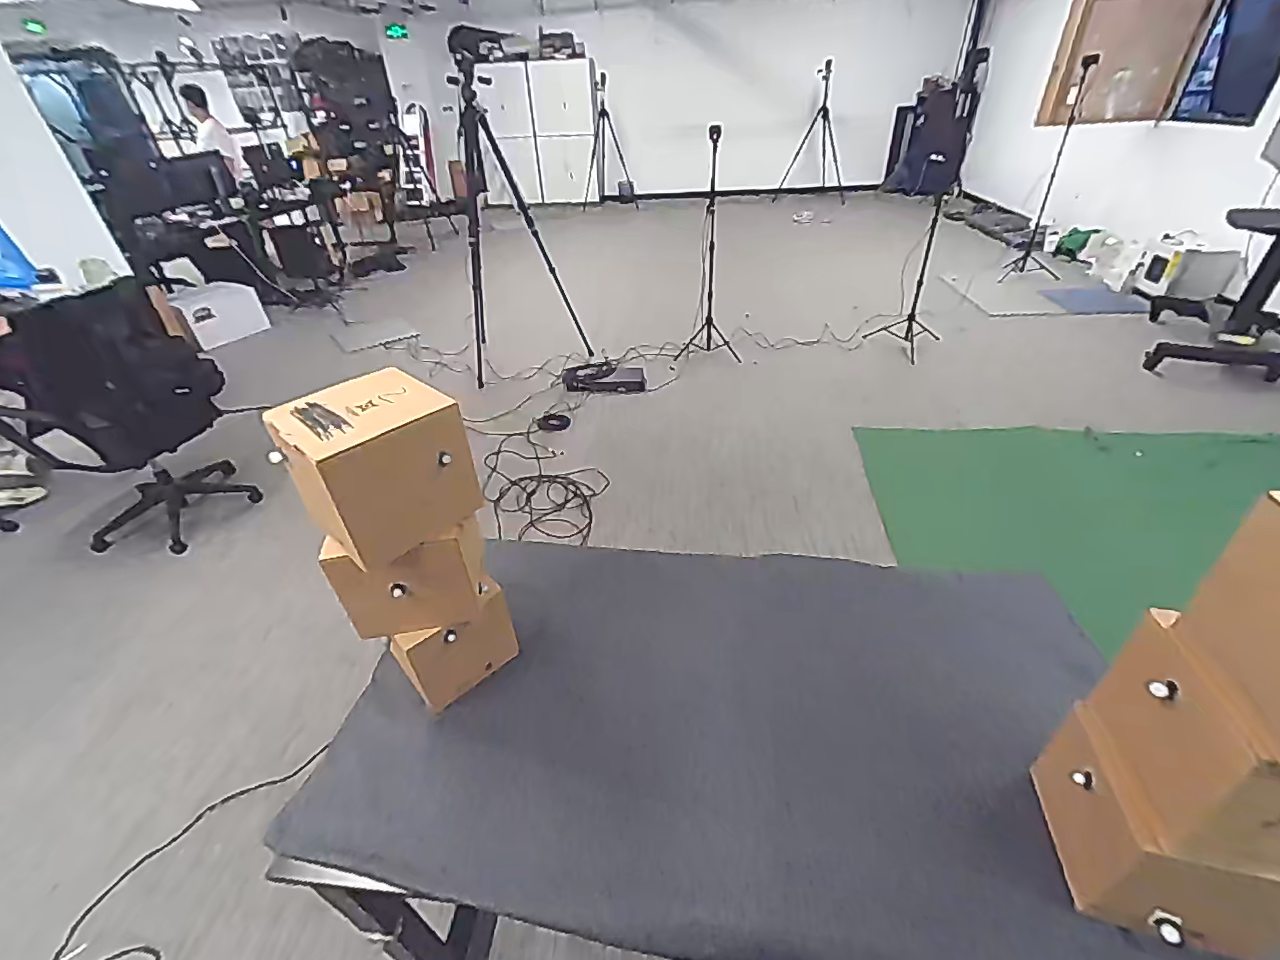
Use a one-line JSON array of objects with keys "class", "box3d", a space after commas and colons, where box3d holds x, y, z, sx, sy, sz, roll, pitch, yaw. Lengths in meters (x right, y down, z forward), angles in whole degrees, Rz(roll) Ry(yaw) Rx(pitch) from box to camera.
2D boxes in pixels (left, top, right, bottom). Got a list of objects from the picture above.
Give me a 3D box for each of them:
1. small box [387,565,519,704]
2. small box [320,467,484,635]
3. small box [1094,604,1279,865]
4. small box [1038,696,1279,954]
[{"class": "small box", "box3d": [-0.329, 0.235, 0.913, 0.168, 0.176, 0.179, -31, 45, -32]}, {"class": "small box", "box3d": [-0.337, 0.106, 0.811, 0.179, 0.176, 0.168, -10, 38, -8]}, {"class": "small box", "box3d": [0.601, 0.251, 0.528, 0.168, 0.176, 0.179, 4, 33, 13]}, {"class": "small box", "box3d": [0.595, 0.386, 0.618, 0.168, 0.176, 0.179, 5, 35, 15]}]
